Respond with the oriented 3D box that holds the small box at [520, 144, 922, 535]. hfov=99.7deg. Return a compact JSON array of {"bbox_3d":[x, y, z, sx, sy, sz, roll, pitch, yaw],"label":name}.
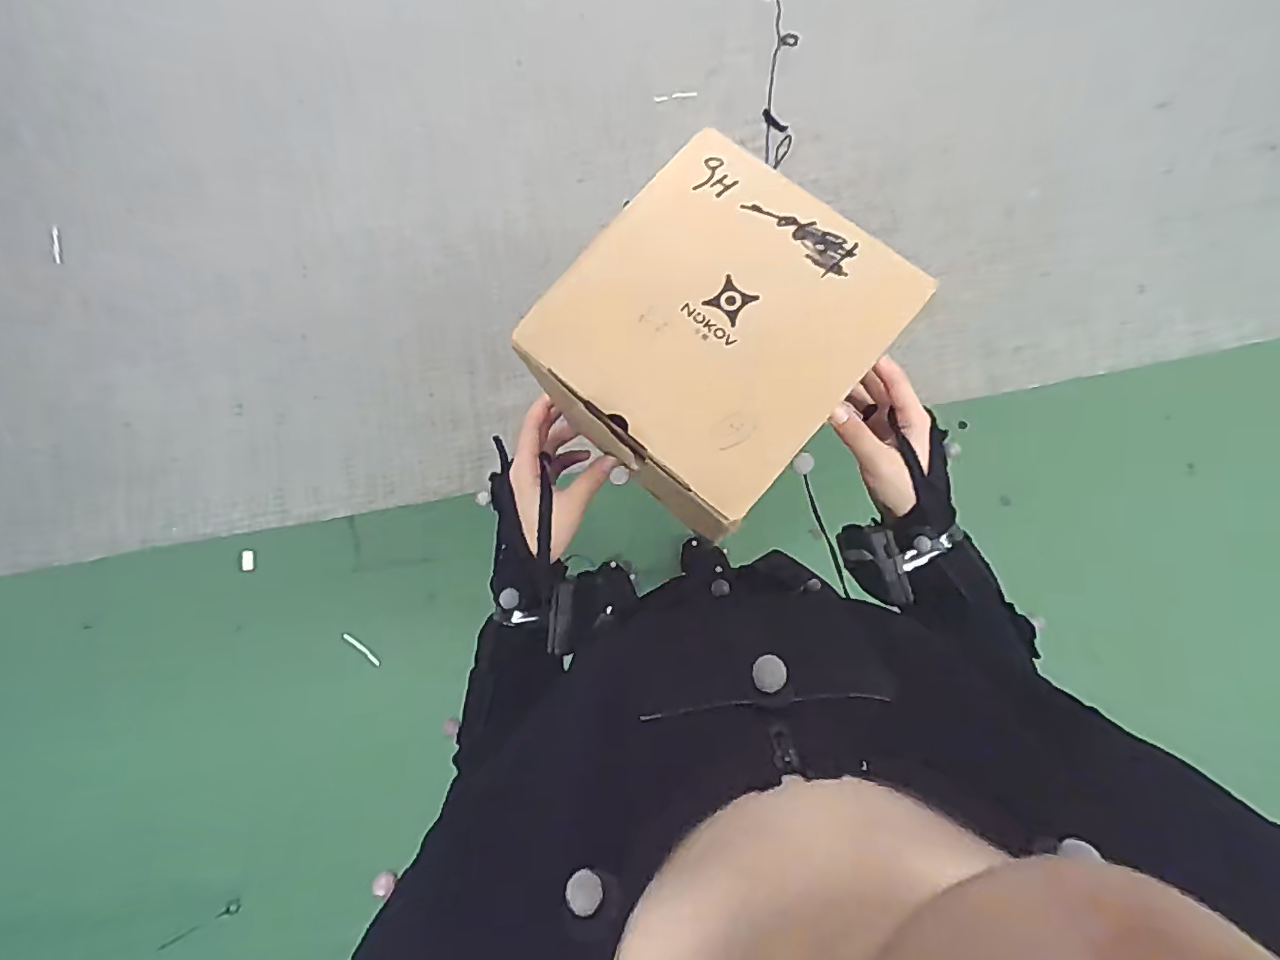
[{"bbox_3d":[0.051,-0.077,0.387,0.168,0.176,0.179,40,85,10],"label":"small box"}]
